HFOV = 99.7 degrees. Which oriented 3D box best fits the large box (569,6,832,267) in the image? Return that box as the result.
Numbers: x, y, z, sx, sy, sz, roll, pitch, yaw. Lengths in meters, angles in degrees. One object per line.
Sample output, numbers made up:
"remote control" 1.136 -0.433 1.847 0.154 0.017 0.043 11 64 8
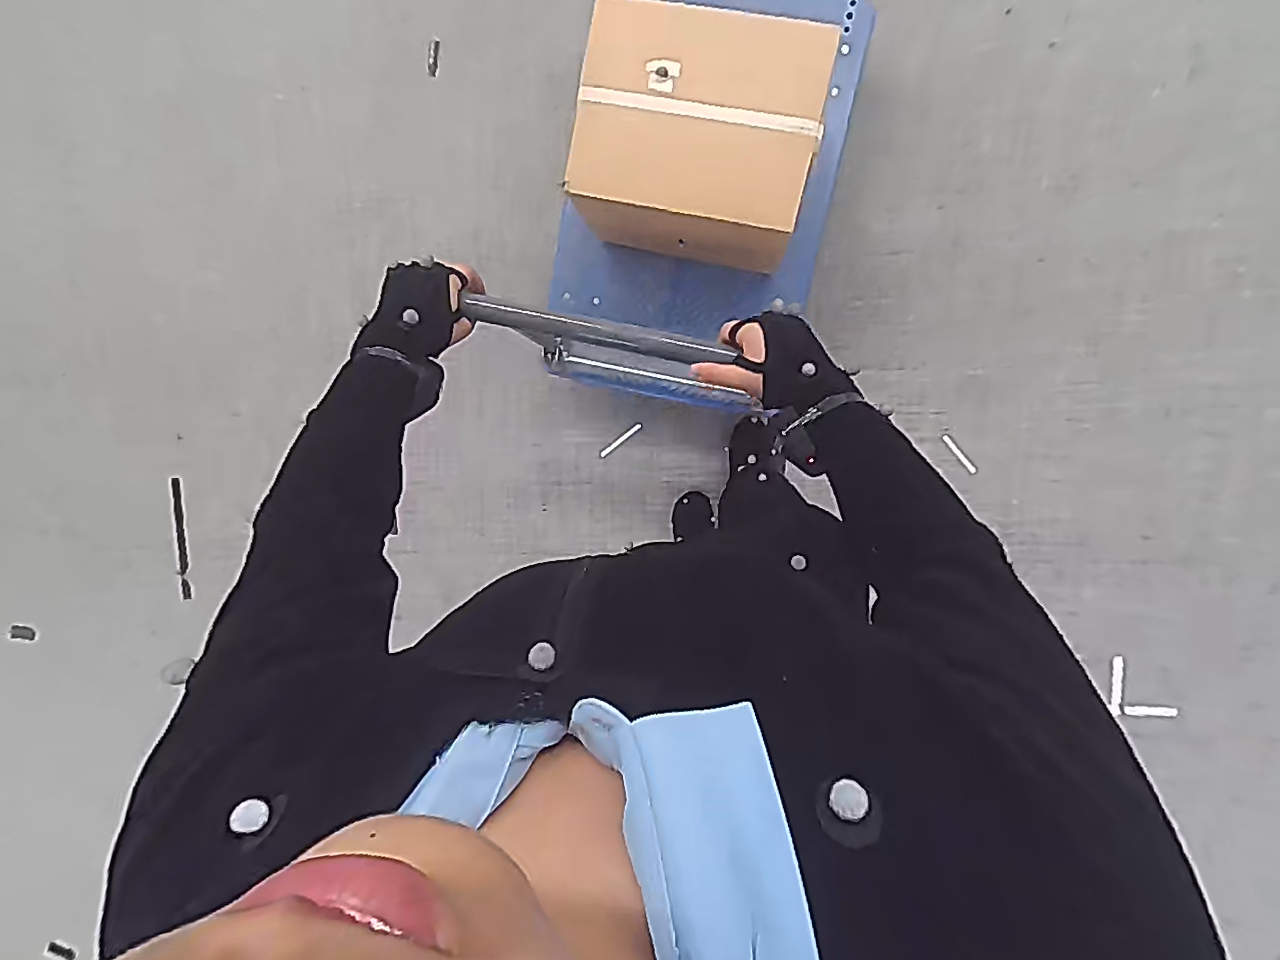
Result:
"large box" 0.117 -0.637 1.061 0.408 0.320 0.320 13 99 7
